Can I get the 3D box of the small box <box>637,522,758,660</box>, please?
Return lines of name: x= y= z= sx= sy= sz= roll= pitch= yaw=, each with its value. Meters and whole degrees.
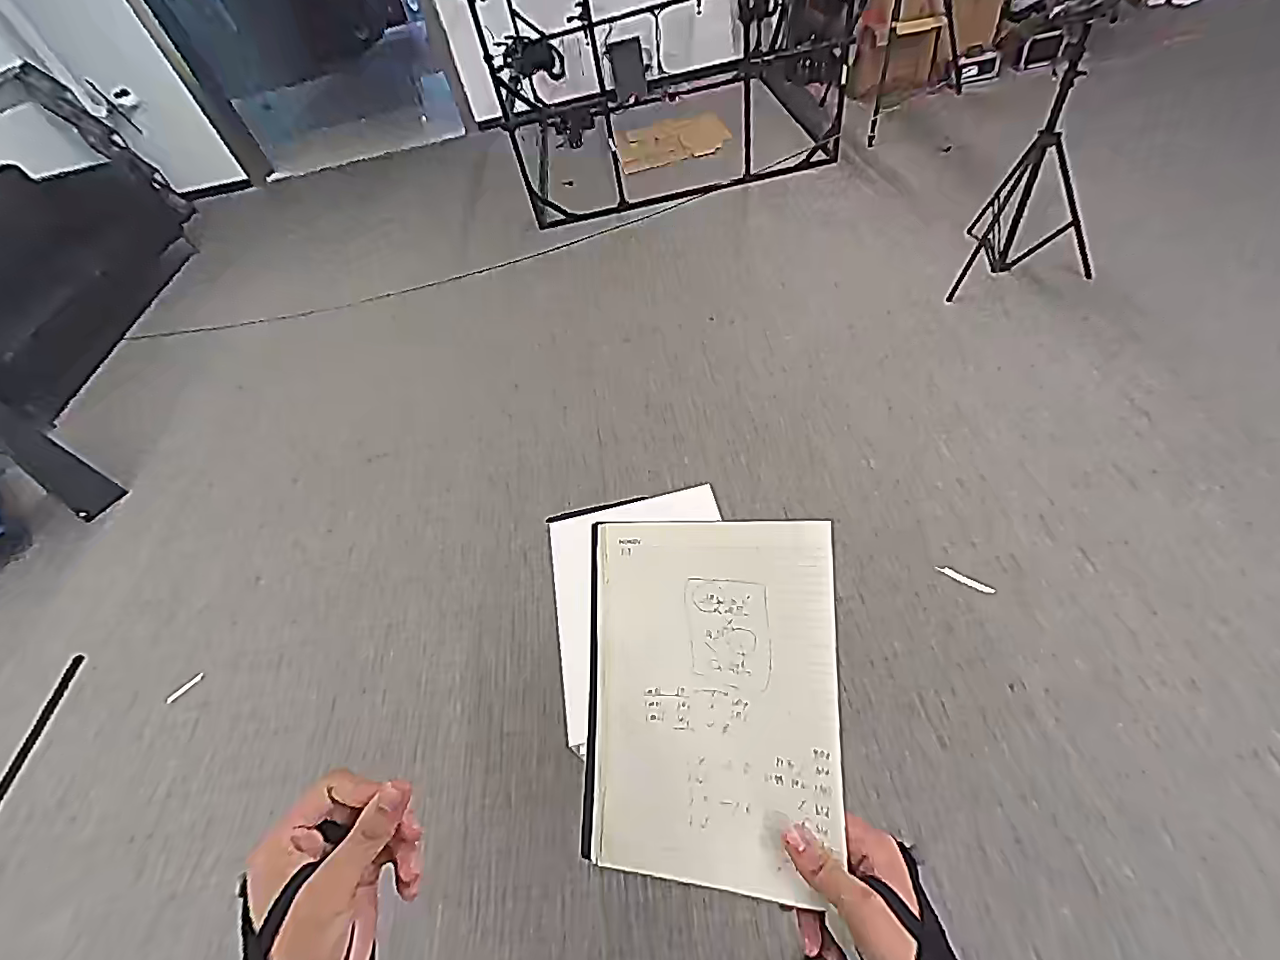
small box: x=0.111 y=0.215 z=1.033 sx=0.179 sy=0.176 sz=0.168 roll=-21 pitch=49 yaw=-4
